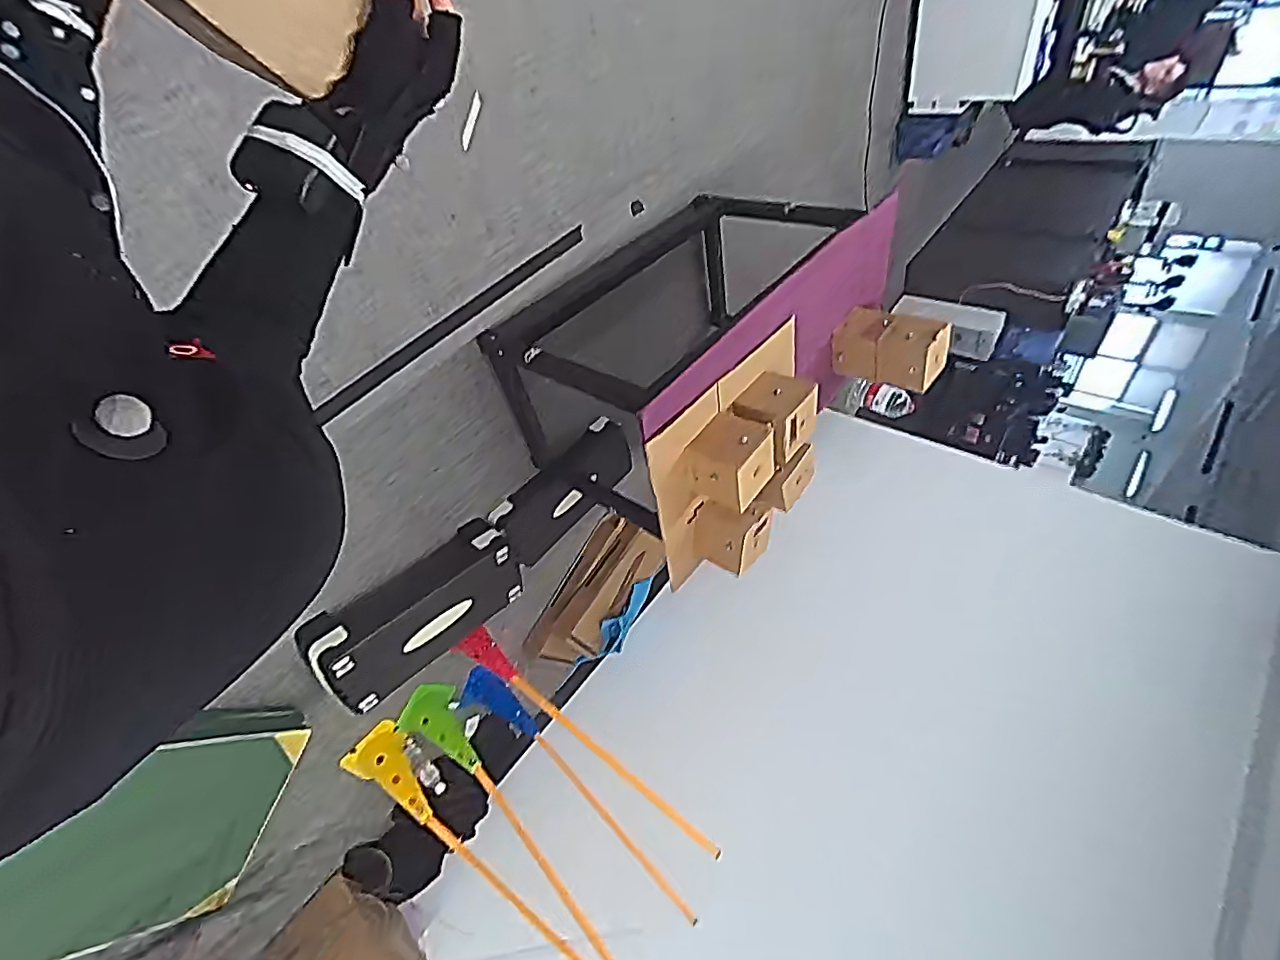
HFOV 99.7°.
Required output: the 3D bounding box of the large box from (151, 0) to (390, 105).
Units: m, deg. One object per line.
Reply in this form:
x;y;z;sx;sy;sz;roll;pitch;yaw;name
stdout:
-0.365;-0.546;0.329;0.320;0.320;0.408;-54;150;8;large box
